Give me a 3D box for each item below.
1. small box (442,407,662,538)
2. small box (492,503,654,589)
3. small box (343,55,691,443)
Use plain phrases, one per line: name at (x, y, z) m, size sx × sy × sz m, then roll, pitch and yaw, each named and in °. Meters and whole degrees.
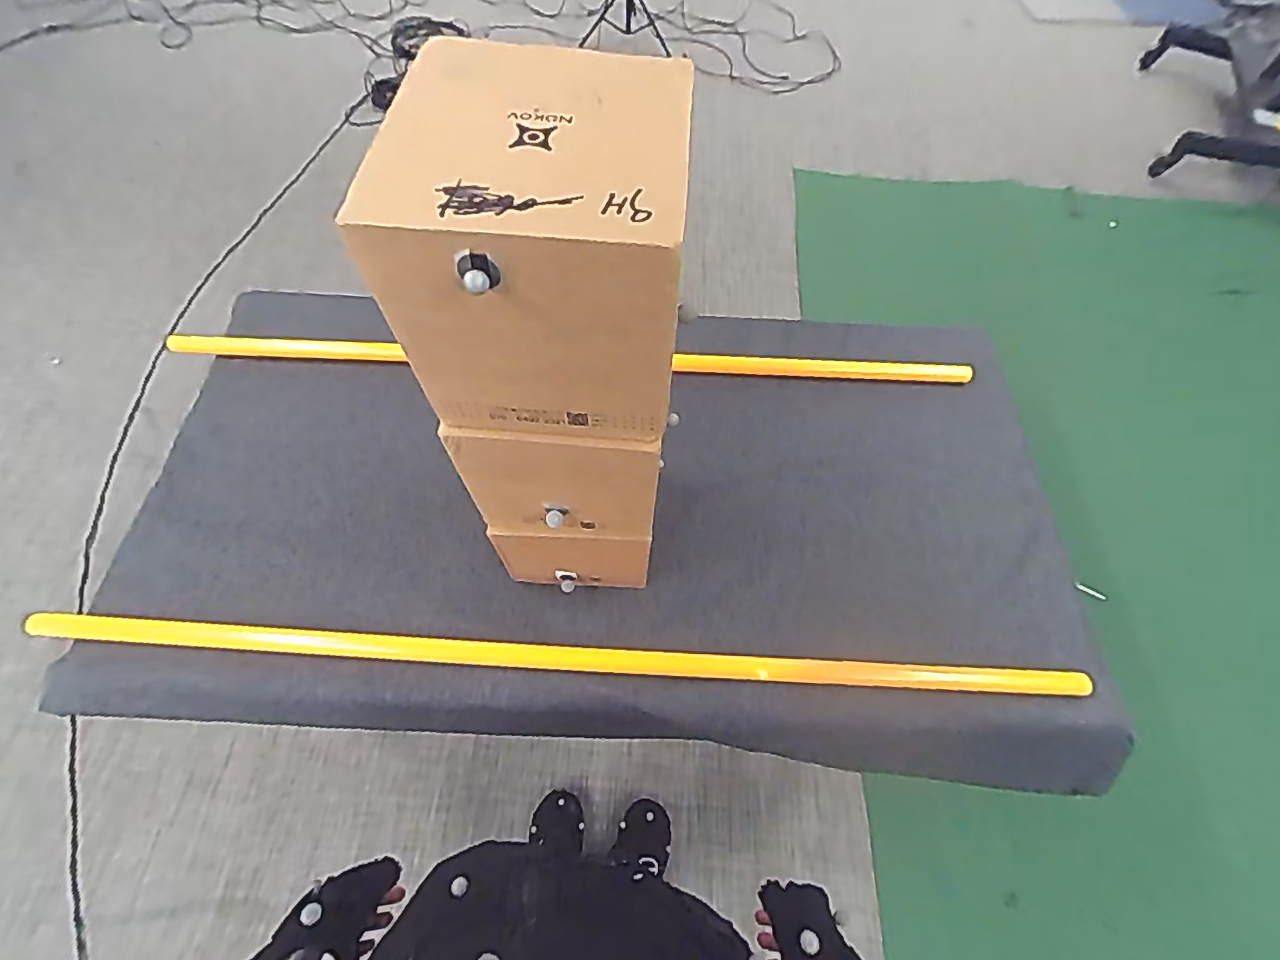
small box at (-0.062, -0.063, 0.509) m, size 0.168 × 0.176 × 0.179 m, roll 5°, pitch 62°, yaw 2°
small box at (-0.068, 0.020, 0.651) m, size 0.168 × 0.176 × 0.179 m, roll 1°, pitch 63°, yaw 0°
small box at (-0.058, -0.148, 0.368) m, size 0.168 × 0.176 × 0.179 m, roll 4°, pitch 61°, yaw 2°
